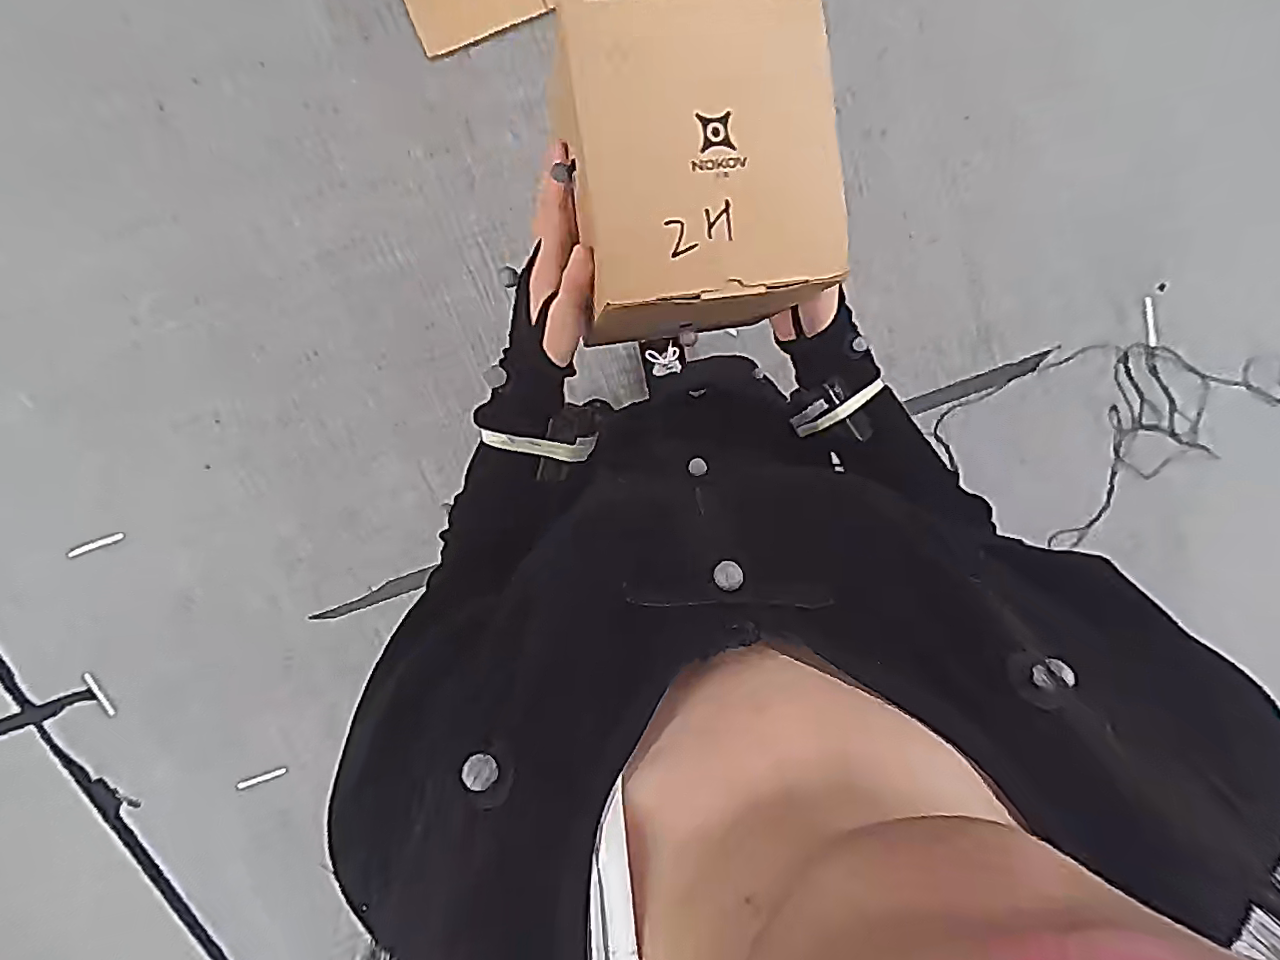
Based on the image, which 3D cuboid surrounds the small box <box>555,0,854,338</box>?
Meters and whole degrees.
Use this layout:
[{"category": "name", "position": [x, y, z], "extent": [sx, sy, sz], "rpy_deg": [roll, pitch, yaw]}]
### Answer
[{"category": "small box", "position": [0.032, -0.216, 0.406], "extent": [0.168, 0.176, 0.179], "rpy_deg": [-10, 98, -10]}]
